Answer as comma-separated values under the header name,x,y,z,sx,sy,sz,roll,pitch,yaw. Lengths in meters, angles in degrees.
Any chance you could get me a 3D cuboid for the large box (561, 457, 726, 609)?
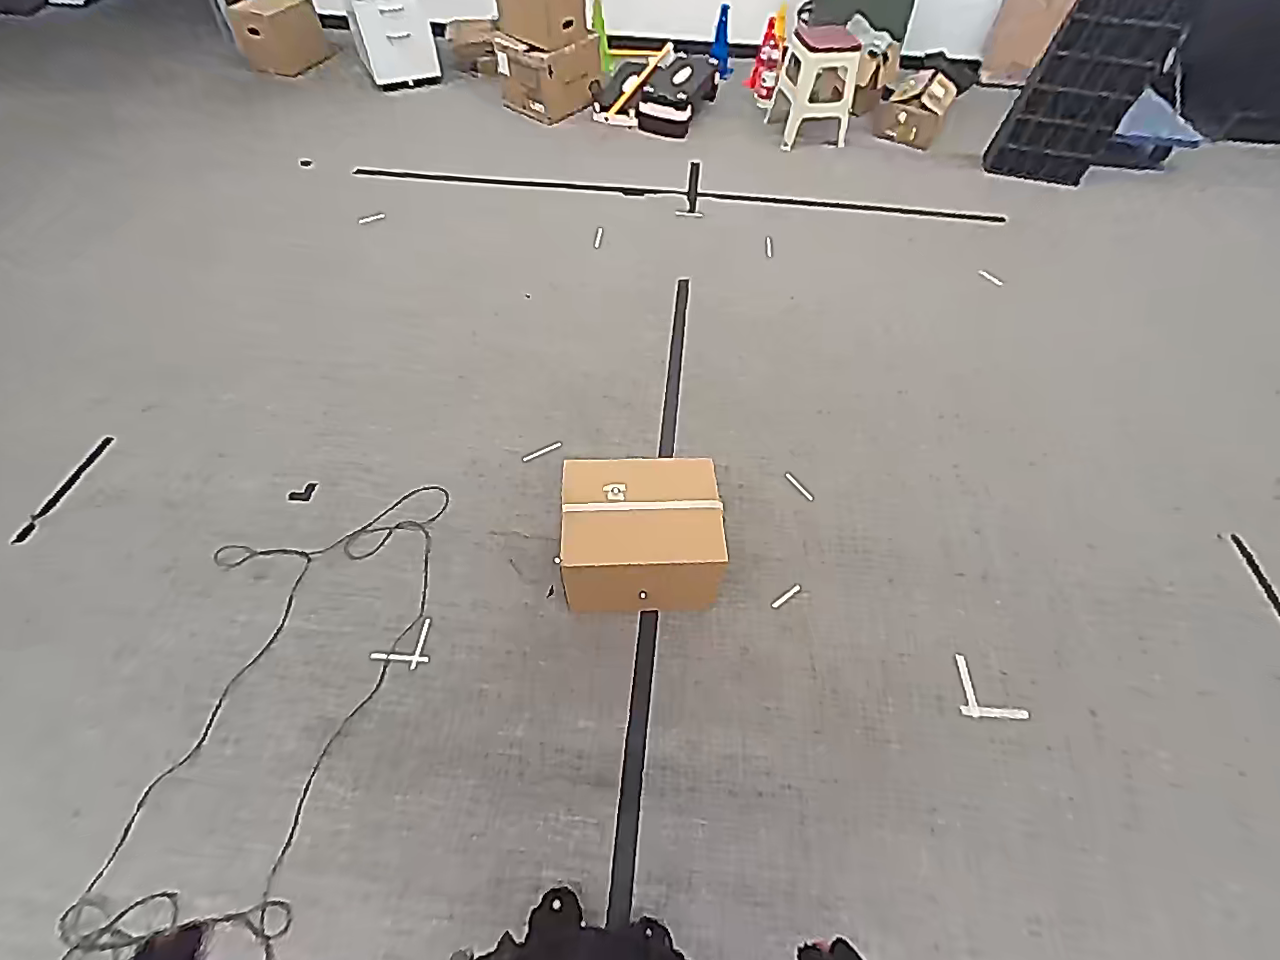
name,x,y,z,sx,sy,sz,roll,pitch,yaw
large box,0.001,0.155,1.497,0.408,0.320,0.320,-1,56,-2
